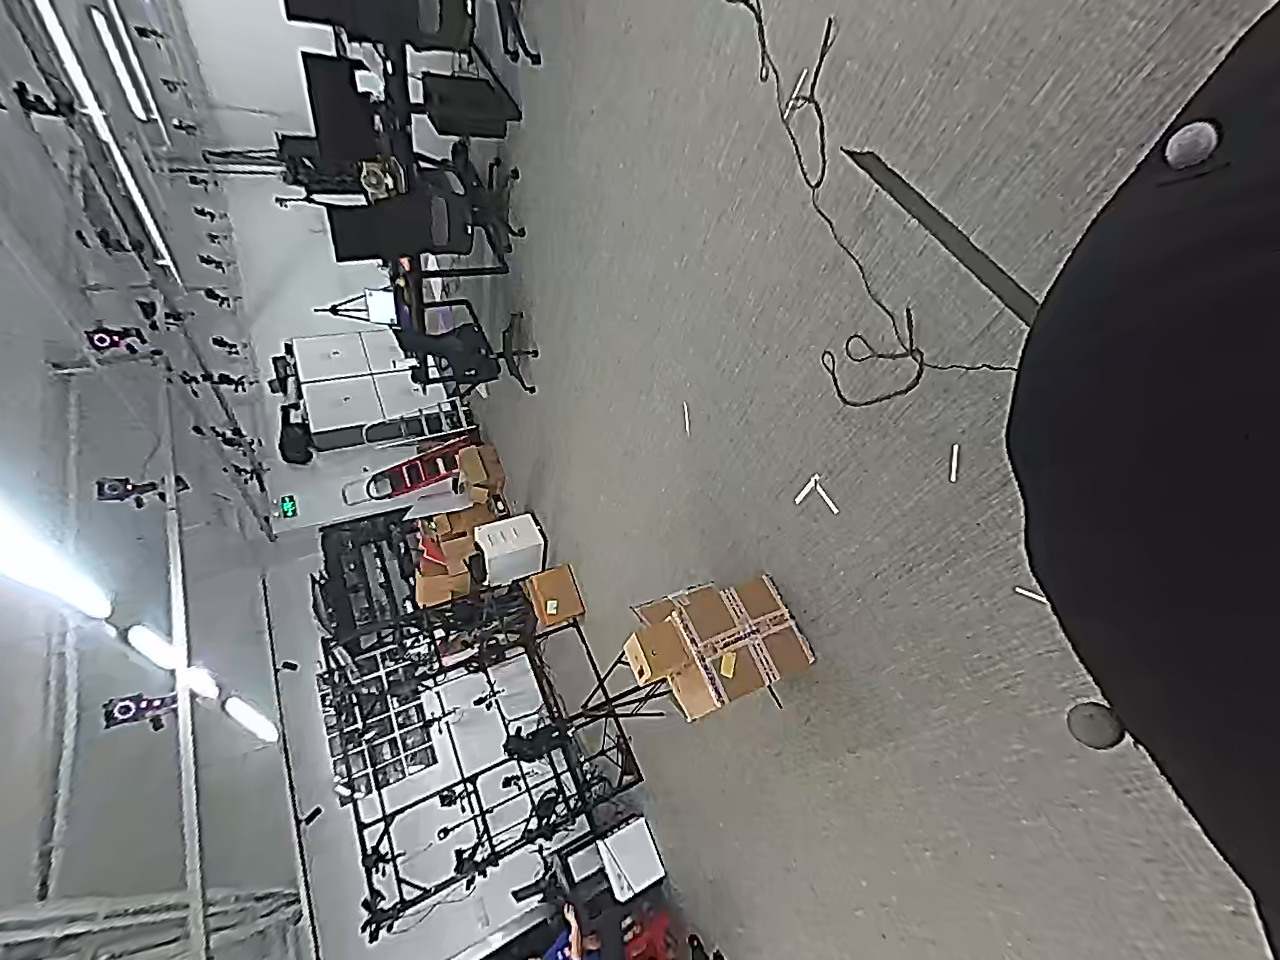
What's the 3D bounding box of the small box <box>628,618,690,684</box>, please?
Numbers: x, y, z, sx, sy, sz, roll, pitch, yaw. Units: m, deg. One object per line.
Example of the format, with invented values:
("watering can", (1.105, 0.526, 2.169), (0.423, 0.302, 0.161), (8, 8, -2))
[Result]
("small box", (0.077, 0.678, 2.148), (0.179, 0.176, 0.168), (64, 149, 27))
